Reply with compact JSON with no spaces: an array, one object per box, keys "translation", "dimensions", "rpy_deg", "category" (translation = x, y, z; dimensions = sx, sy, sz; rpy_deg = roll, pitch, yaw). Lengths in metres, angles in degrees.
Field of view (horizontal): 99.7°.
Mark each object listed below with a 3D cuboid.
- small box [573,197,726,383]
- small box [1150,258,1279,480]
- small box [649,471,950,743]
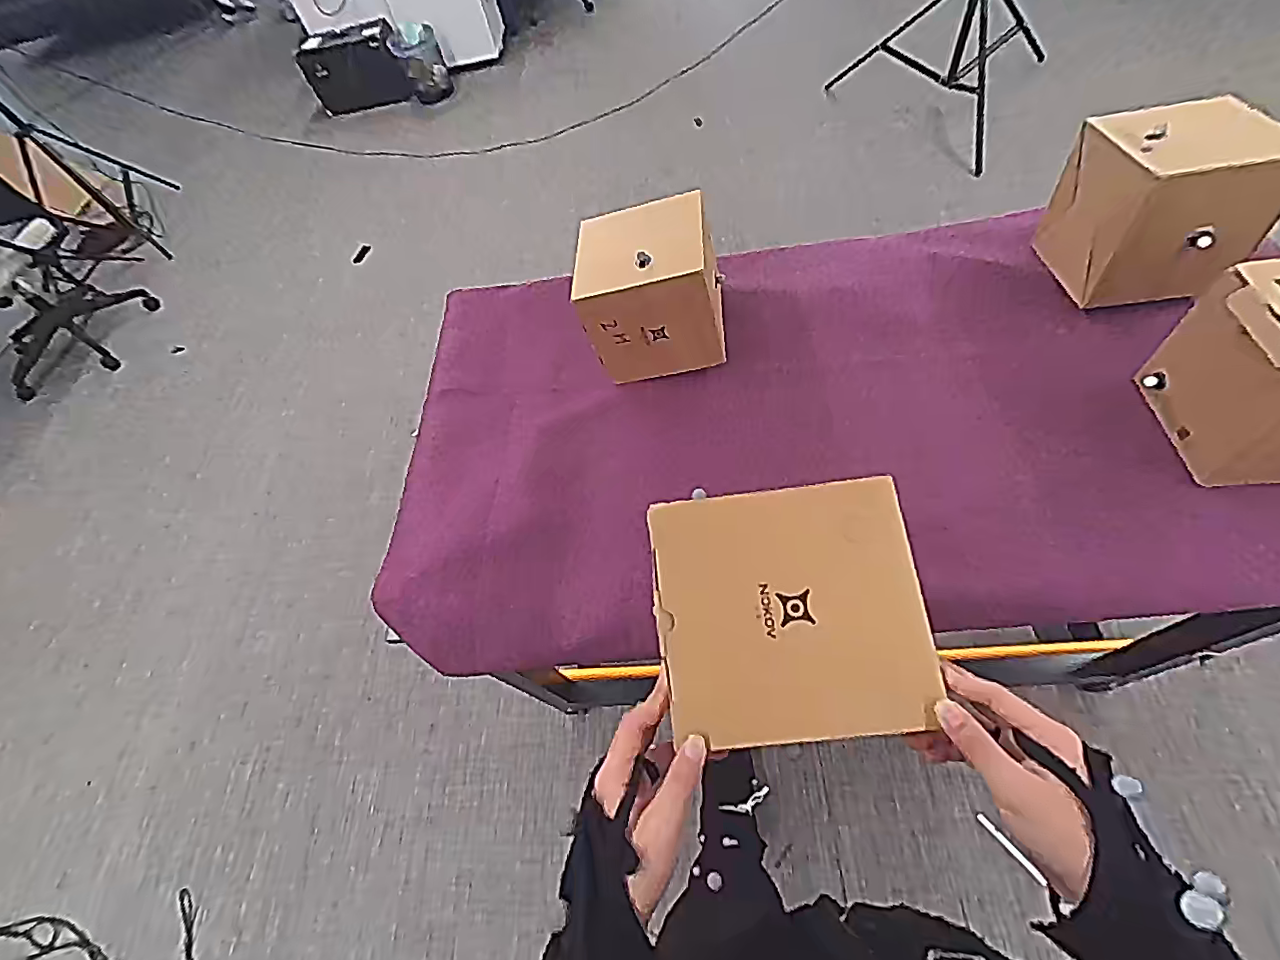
[{"translation":[0.019,-0.266,0.766],"dimensions":[0.179,0.168,0.176],"rpy_deg":[-7,57,15],"category":"small box"},{"translation":[0.689,-0.111,0.557],"dimensions":[0.179,0.176,0.168],"rpy_deg":[-4,58,8],"category":"small box"},{"translation":[0.107,0.102,0.437],"dimensions":[0.179,0.176,0.168],"rpy_deg":[-8,73,4],"category":"small box"}]
